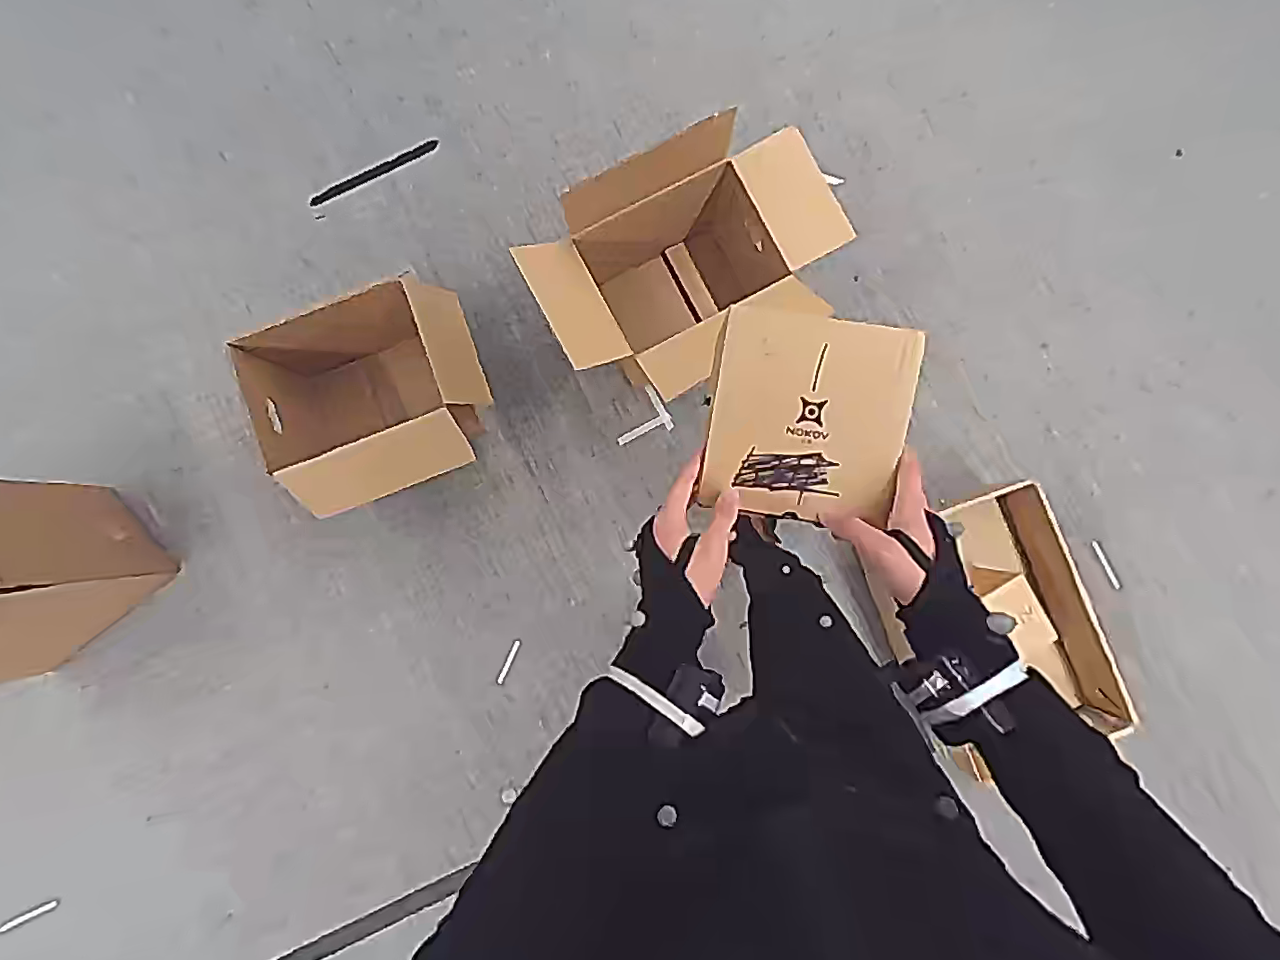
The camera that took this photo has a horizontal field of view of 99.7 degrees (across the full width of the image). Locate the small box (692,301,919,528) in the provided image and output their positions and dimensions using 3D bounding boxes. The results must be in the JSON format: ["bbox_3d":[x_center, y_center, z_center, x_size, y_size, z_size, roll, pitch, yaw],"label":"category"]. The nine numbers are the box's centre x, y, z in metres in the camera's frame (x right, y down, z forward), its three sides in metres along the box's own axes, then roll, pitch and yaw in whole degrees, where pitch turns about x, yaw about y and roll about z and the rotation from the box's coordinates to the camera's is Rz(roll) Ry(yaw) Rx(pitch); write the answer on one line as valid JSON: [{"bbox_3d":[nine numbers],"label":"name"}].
[{"bbox_3d":[0.146,-0.062,0.540,0.168,0.176,0.179,8,96,3],"label":"small box"}]
